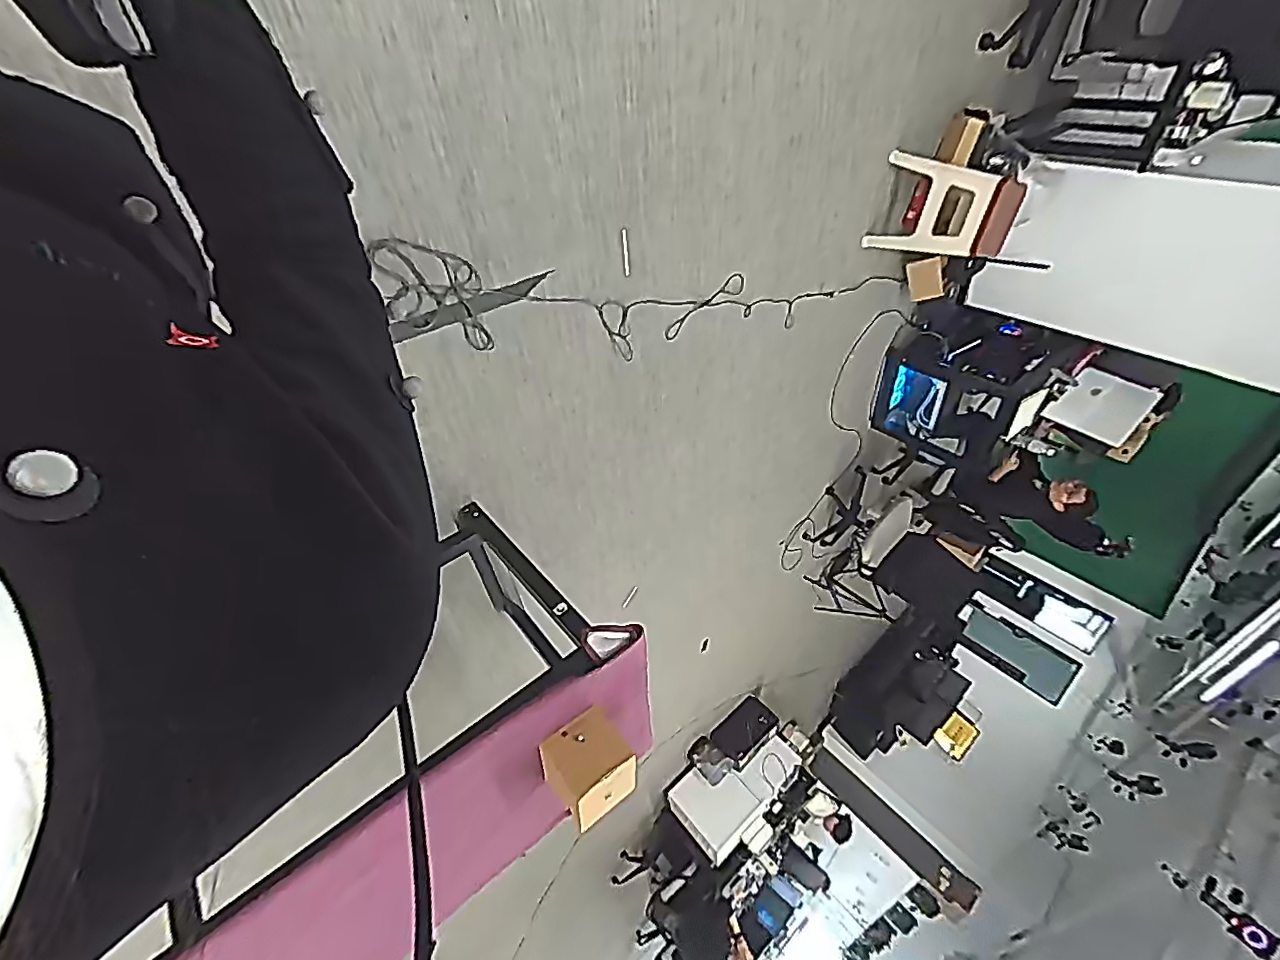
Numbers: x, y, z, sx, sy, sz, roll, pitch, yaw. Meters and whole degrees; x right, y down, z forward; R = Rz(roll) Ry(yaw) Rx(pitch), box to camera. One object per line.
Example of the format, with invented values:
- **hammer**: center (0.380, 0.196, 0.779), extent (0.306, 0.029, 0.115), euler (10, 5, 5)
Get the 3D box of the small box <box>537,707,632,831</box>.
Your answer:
- **small box**: center (-0.135, 0.700, 1.325), extent (0.168, 0.176, 0.179), euler (-26, 134, -32)
